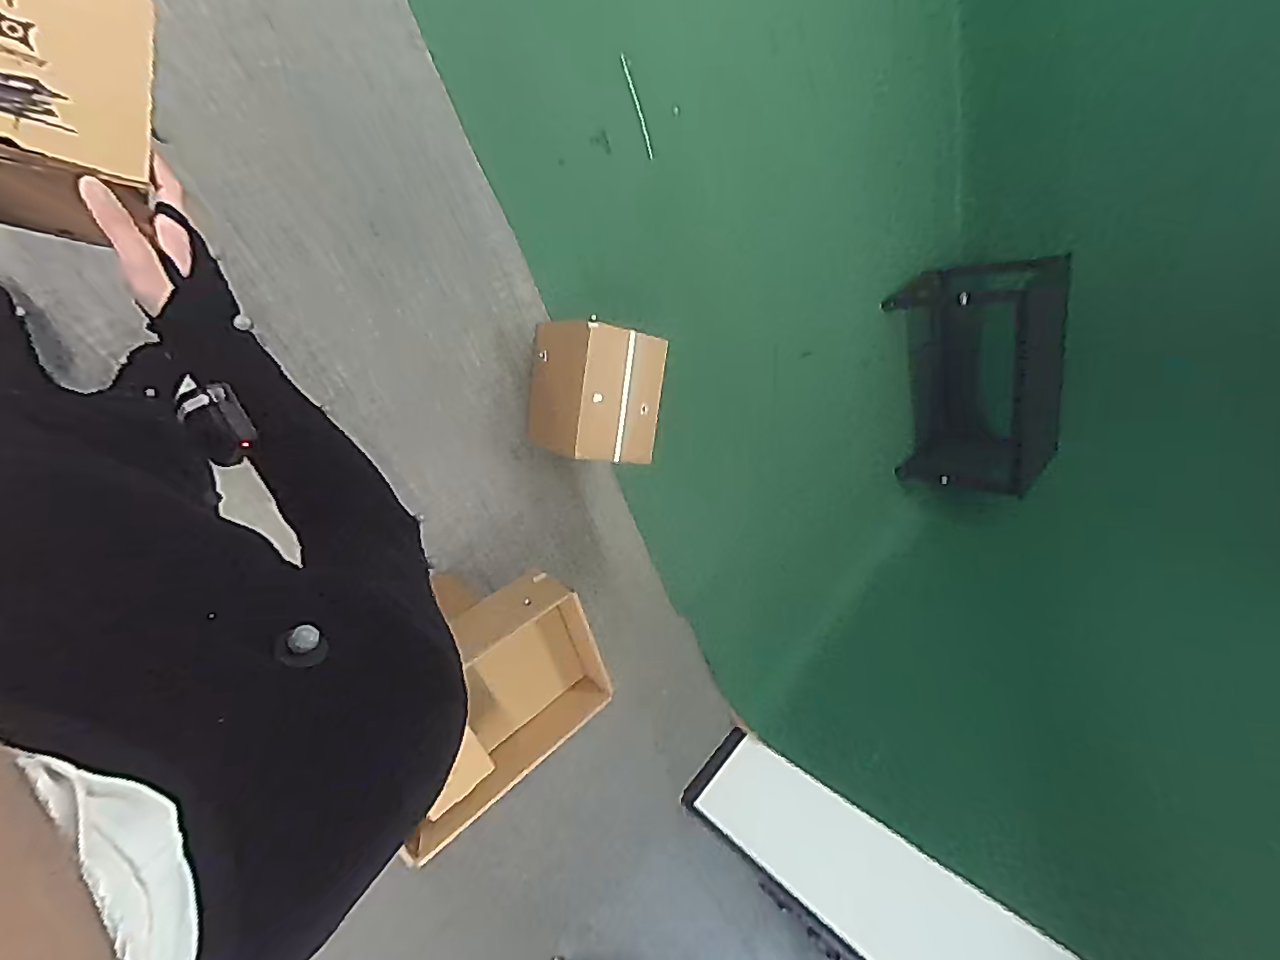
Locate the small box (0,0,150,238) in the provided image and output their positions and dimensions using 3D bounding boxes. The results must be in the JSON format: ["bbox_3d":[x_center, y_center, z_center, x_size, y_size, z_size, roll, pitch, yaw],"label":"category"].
[{"bbox_3d":[-0.542,-0.342,0.472,0.168,0.176,0.179,1,87,-43],"label":"small box"}]

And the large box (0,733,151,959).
[{"bbox_3d":[-1.312,0.814,1.111,0.408,0.320,0.320,-15,112,-39],"label":"large box"}]
